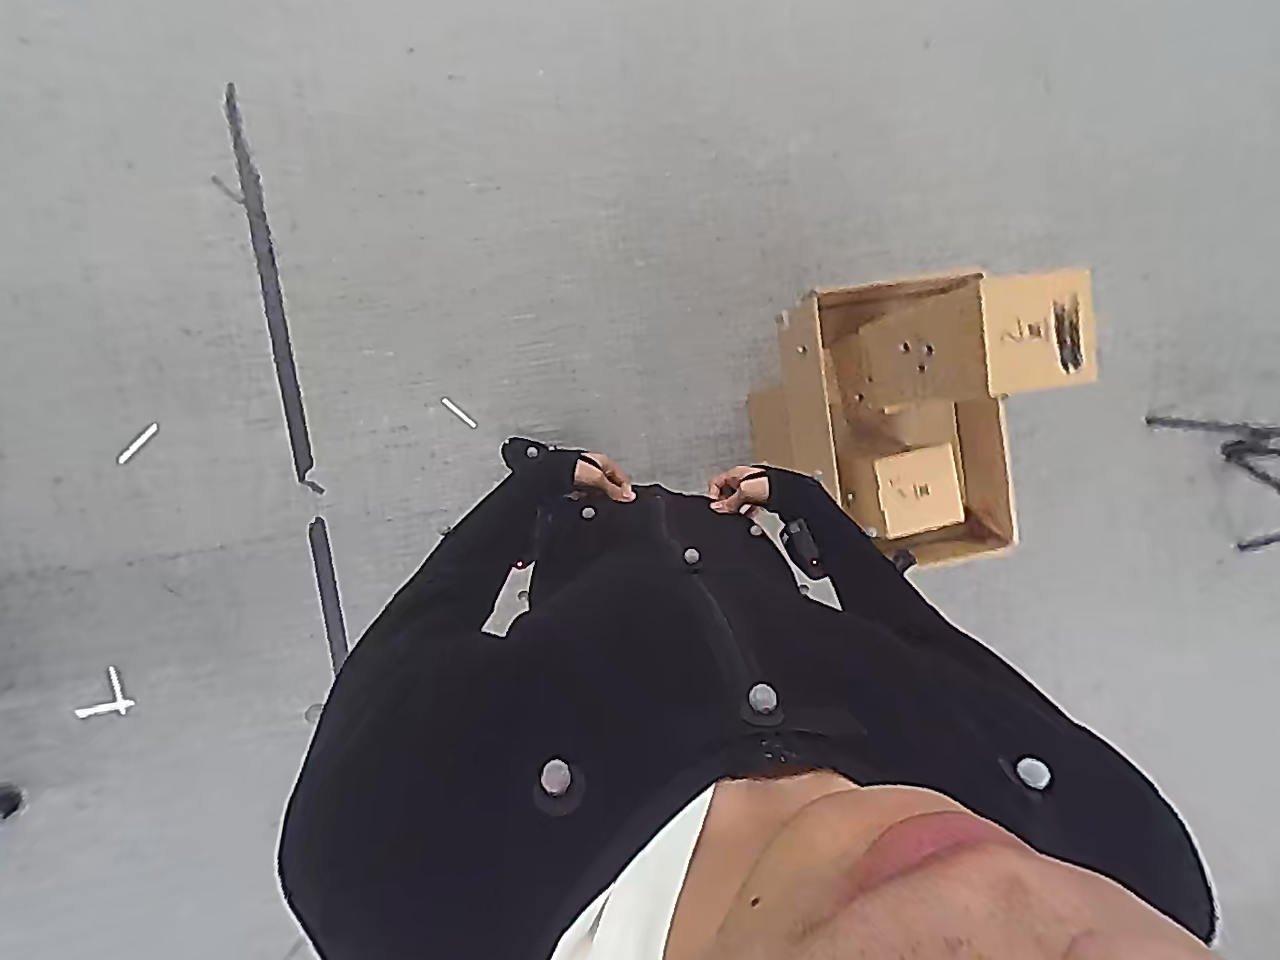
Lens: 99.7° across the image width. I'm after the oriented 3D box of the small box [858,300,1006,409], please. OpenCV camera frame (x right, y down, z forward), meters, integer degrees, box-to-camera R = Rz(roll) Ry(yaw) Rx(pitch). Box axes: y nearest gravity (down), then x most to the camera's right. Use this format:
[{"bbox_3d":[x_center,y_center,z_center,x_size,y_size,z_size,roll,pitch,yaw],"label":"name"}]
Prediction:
[{"bbox_3d":[0.542,-0.229,1.018,0.179,0.176,0.168,-9,94,-7],"label":"small box"}]
